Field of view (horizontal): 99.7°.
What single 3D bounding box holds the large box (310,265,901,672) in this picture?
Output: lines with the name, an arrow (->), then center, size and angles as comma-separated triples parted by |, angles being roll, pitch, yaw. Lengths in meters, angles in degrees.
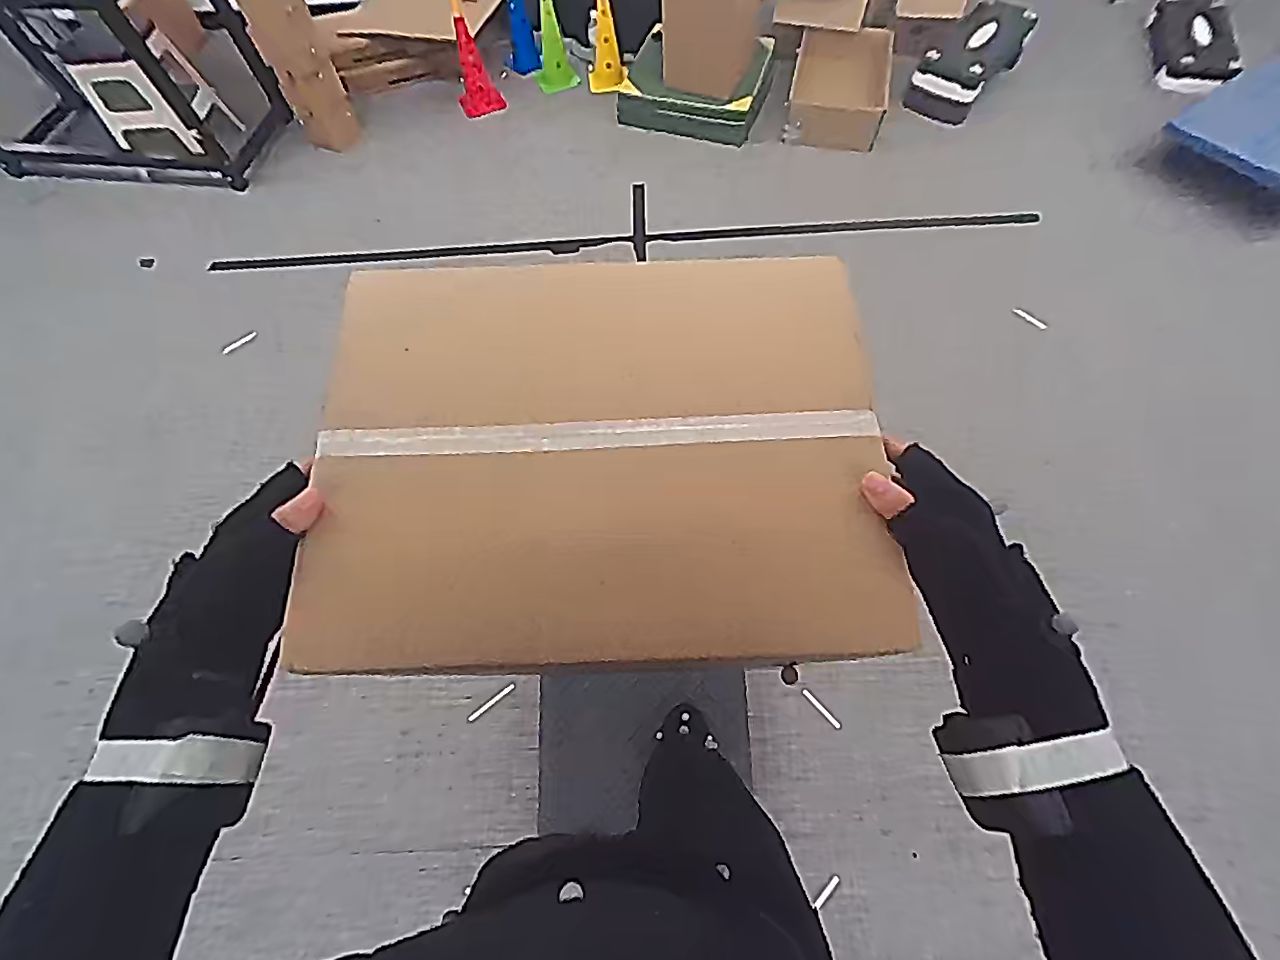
large box -> -0.026, 0.021, 0.547 | 0.408, 0.320, 0.320 | -2, 70, 0
